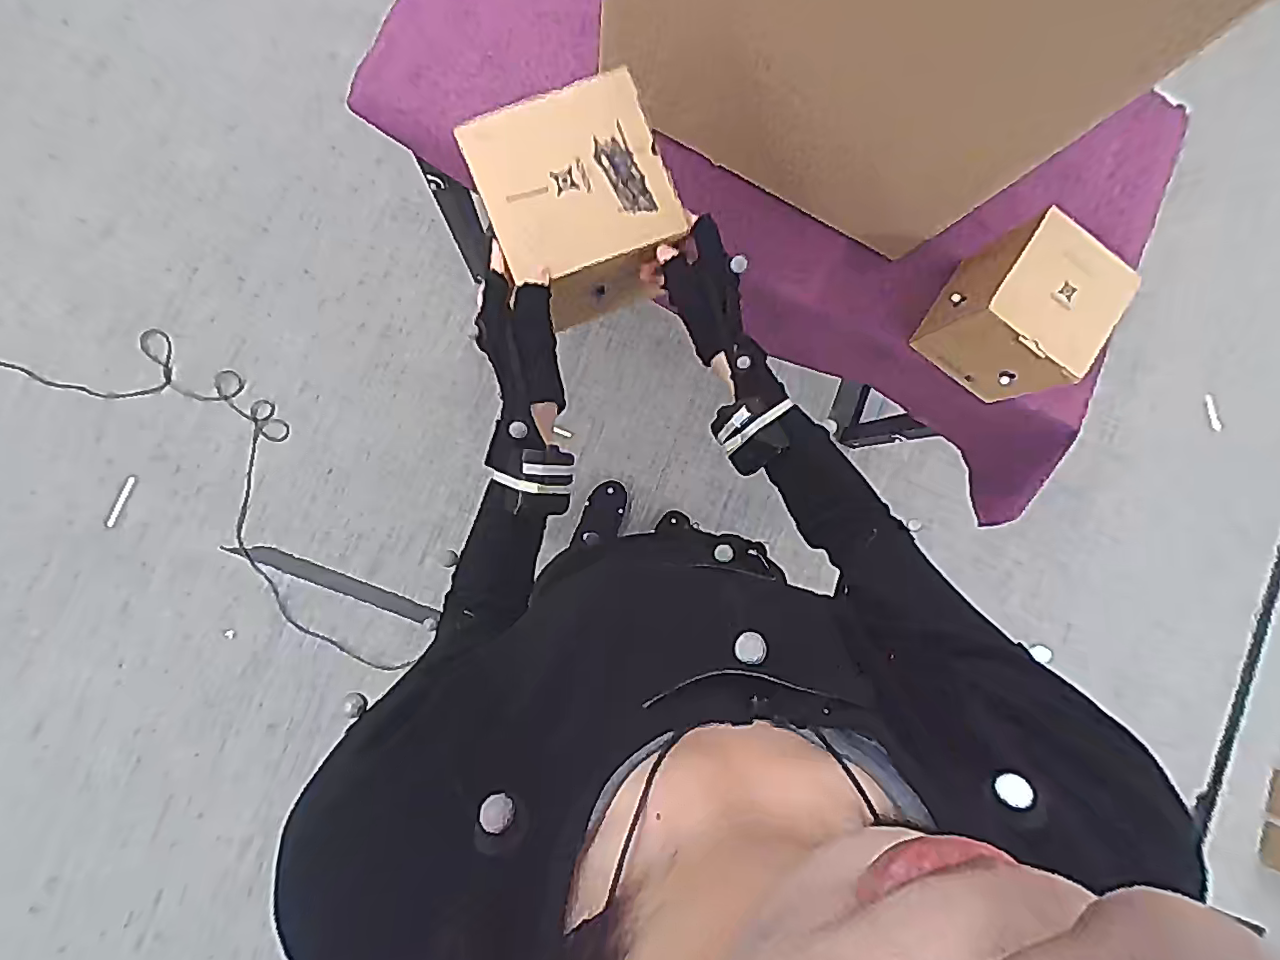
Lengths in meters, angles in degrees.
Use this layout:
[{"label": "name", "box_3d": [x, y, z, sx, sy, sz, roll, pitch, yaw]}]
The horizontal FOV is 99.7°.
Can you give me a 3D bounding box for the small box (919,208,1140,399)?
[{"label": "small box", "box_3d": [0.548, -0.240, 0.787, 0.168, 0.176, 0.179, 34, 83, -6]}]
